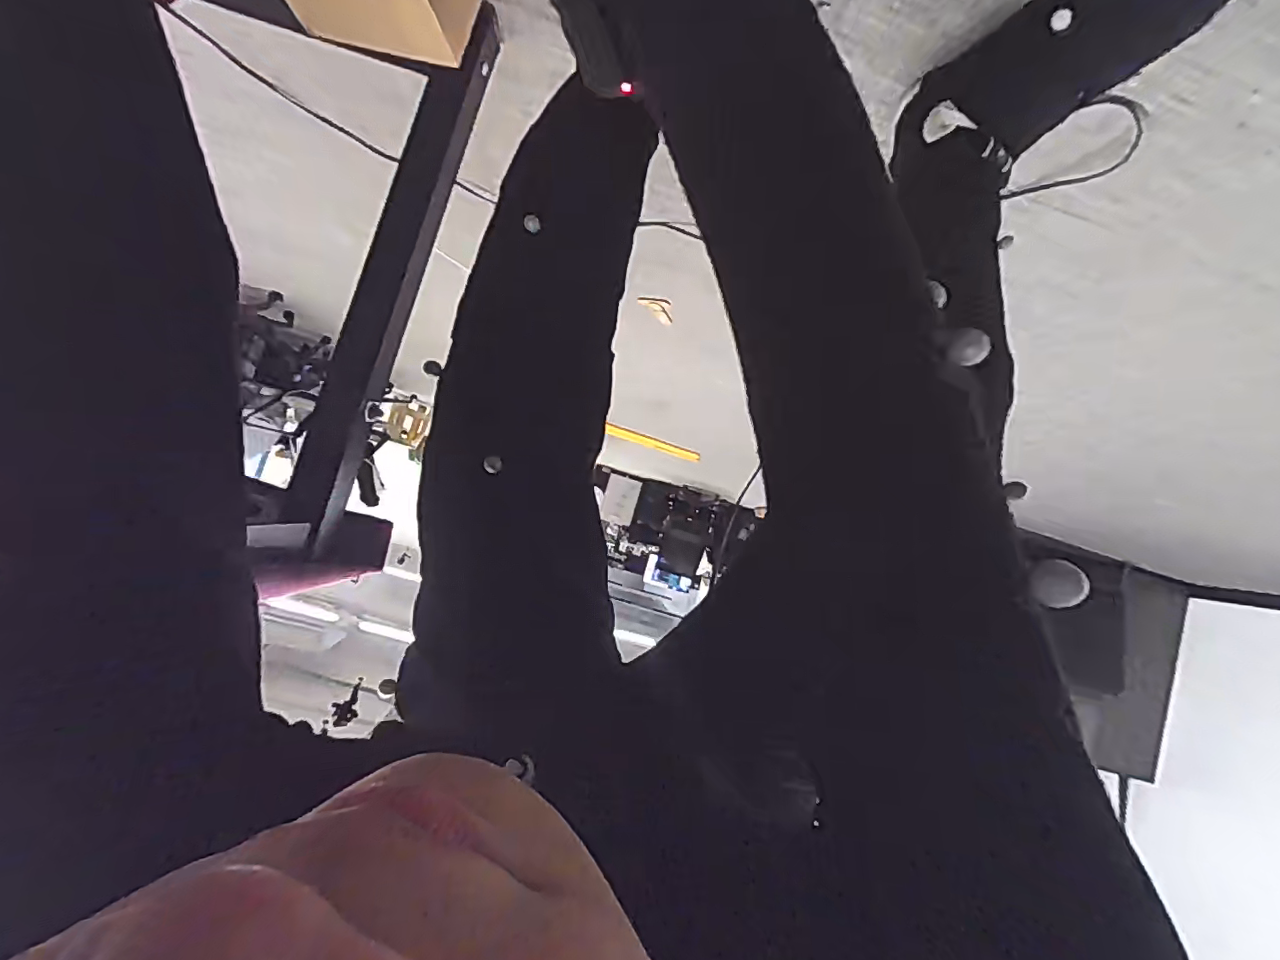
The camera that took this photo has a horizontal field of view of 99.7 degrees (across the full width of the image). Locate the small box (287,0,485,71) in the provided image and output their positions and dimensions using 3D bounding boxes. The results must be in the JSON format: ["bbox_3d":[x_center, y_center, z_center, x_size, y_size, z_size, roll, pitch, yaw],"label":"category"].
[{"bbox_3d":[-0.240,-0.525,0.483,0.179,0.176,0.168,16,175,4],"label":"small box"}]
